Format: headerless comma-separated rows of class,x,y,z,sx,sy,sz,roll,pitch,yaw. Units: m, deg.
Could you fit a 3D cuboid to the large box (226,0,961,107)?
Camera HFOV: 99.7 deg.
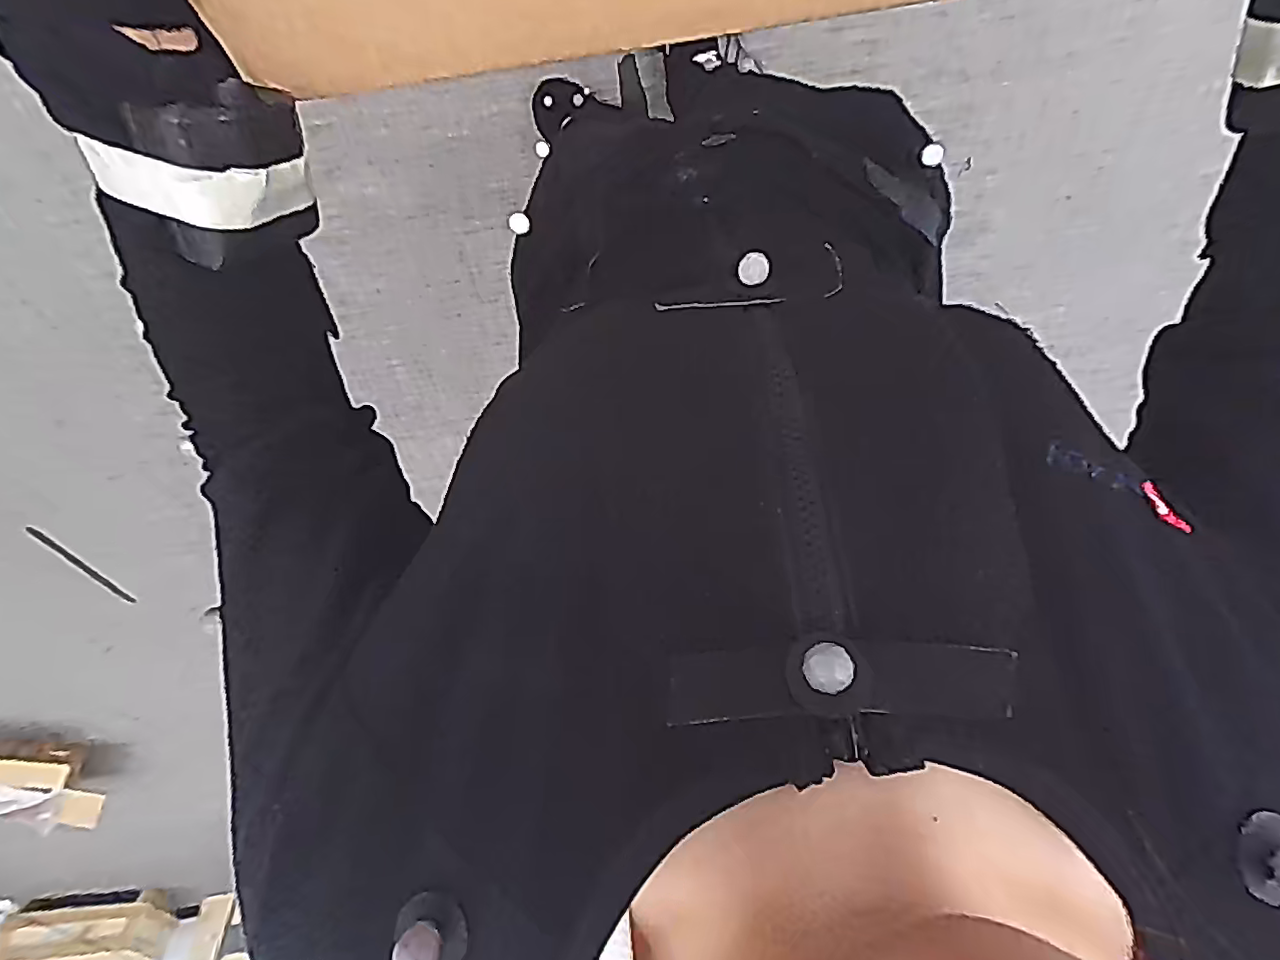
large box,0.015,-0.381,0.140,0.408,0.320,0.320,-6,160,3
